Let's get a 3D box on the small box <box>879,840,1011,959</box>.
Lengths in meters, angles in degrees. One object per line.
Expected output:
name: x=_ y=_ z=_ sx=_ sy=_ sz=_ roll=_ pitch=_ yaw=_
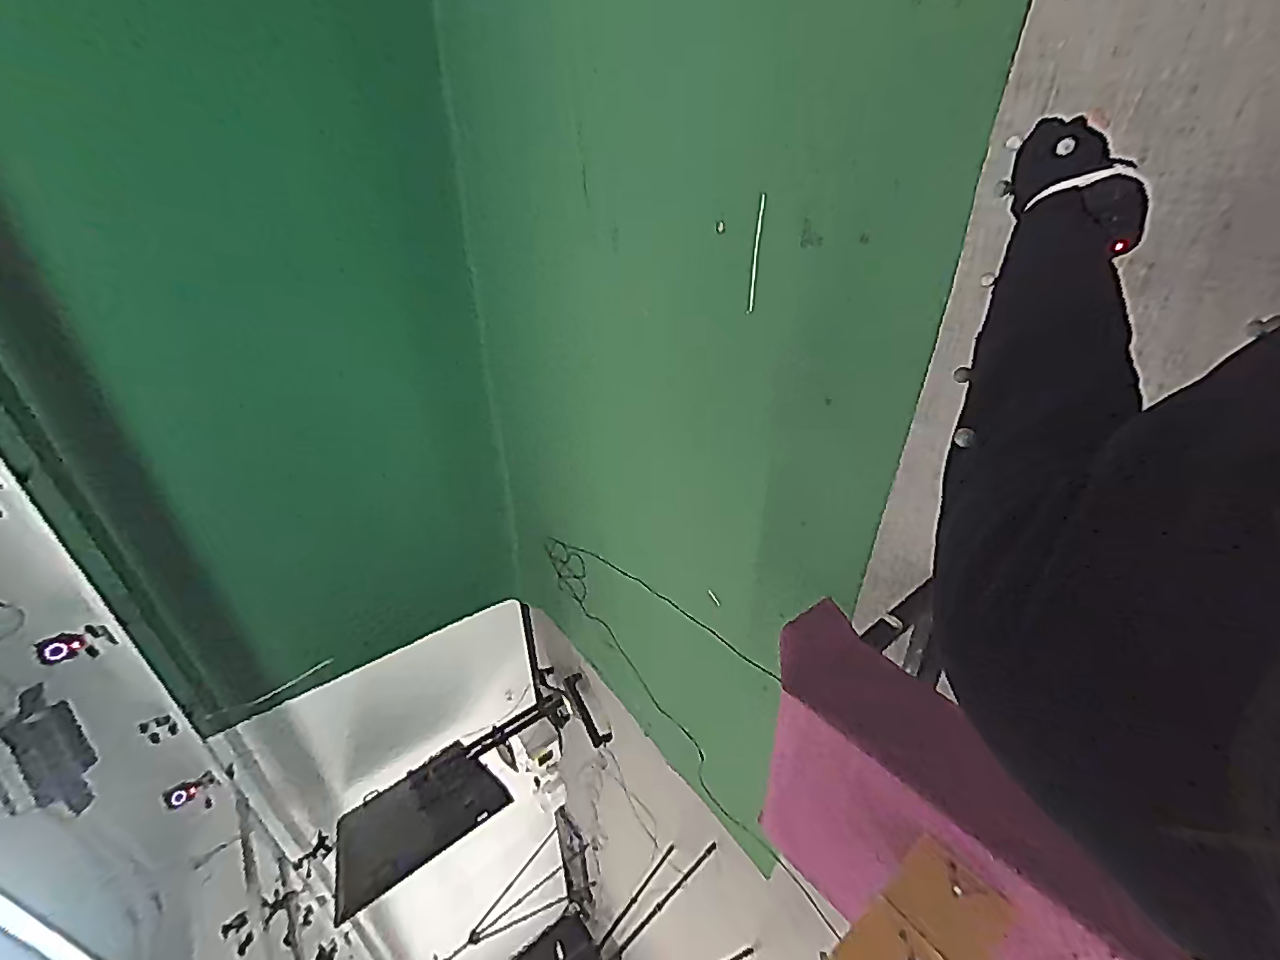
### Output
small box: x=0.543 y=0.823 z=0.997 sx=0.168 sy=0.176 sz=0.179 roll=33 pitch=134 yaw=42

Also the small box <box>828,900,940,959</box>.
small box: x=0.413 y=0.875 z=0.914 sx=0.168 sy=0.176 sz=0.179 roll=34 pitch=134 yaw=42
